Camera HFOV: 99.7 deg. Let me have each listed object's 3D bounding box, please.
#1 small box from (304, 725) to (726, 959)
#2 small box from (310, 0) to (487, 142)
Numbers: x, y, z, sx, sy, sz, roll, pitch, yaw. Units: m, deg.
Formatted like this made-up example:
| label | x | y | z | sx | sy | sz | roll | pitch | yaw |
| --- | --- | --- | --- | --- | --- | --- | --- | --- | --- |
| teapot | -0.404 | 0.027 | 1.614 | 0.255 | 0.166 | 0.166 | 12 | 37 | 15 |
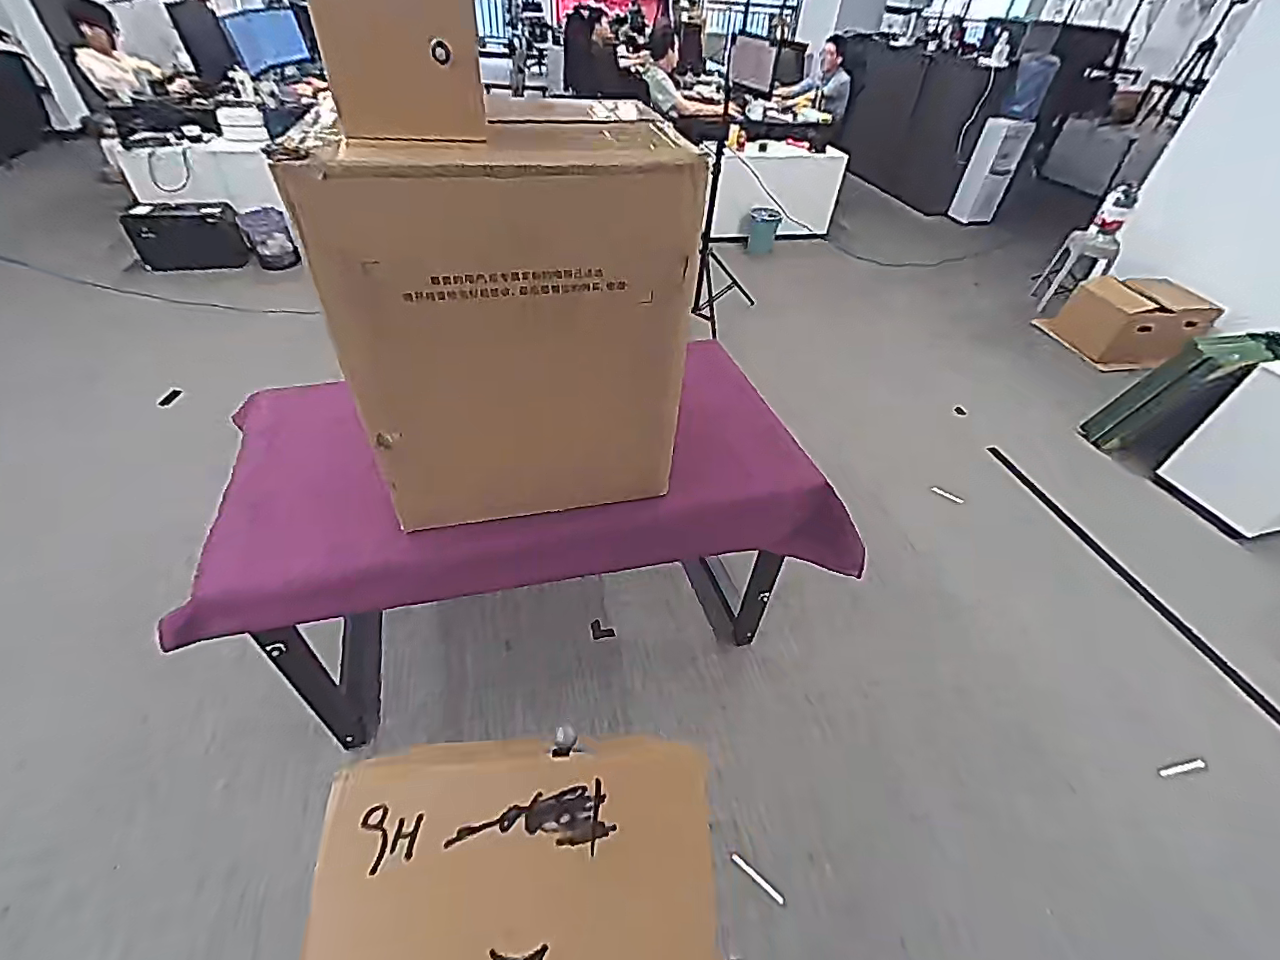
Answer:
| label | x | y | z | sx | sy | sz | roll | pitch | yaw |
| --- | --- | --- | --- | --- | --- | --- | --- | --- | --- |
| small box | -0.054 | 0.230 | 0.280 | 0.168 | 0.176 | 0.179 | 0 | 68 | -7 |
| small box | -0.292 | -0.541 | 0.682 | 0.179 | 0.176 | 0.168 | -9 | 44 | -13 |
